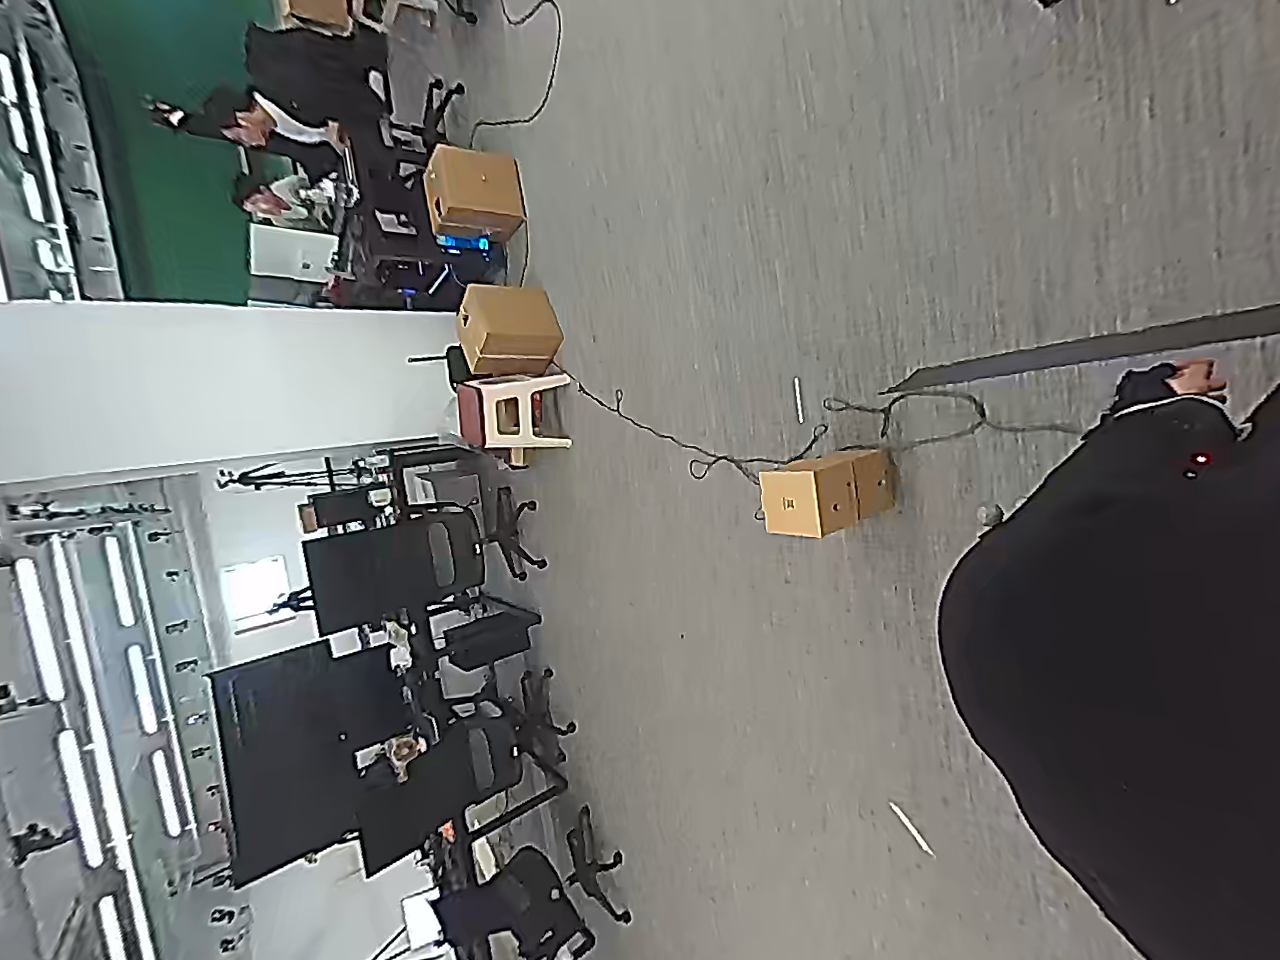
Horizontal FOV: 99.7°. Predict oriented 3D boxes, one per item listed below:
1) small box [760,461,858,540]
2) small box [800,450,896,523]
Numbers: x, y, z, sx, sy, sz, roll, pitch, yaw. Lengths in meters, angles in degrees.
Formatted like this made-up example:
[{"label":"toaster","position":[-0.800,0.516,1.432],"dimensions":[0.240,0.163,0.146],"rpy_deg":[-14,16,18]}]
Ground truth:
[{"label":"small box","position":[0.440,0.047,1.388],"dimensions":[0.179,0.176,0.168],"rpy_deg":[-1,101,55]},{"label":"small box","position":[0.570,0.014,1.481],"dimensions":[0.179,0.176,0.168],"rpy_deg":[-1,101,54]}]
